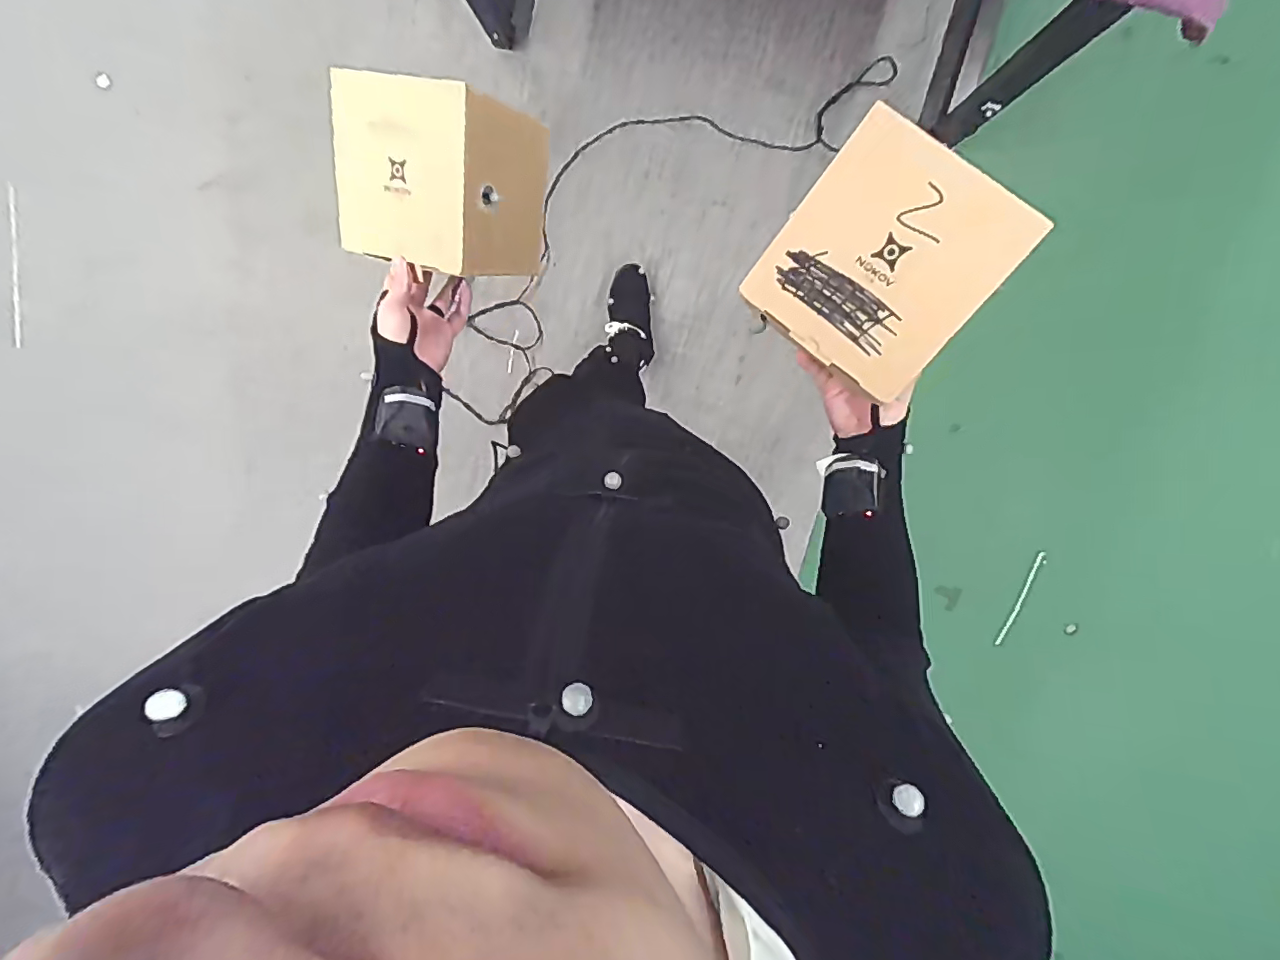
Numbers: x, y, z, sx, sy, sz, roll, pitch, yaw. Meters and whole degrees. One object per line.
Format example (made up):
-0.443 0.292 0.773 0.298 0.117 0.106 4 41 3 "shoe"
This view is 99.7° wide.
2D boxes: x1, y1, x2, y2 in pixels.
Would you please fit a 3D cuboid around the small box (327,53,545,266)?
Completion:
-0.224 -0.354 0.625 0.168 0.176 0.179 17 115 14 "small box"
